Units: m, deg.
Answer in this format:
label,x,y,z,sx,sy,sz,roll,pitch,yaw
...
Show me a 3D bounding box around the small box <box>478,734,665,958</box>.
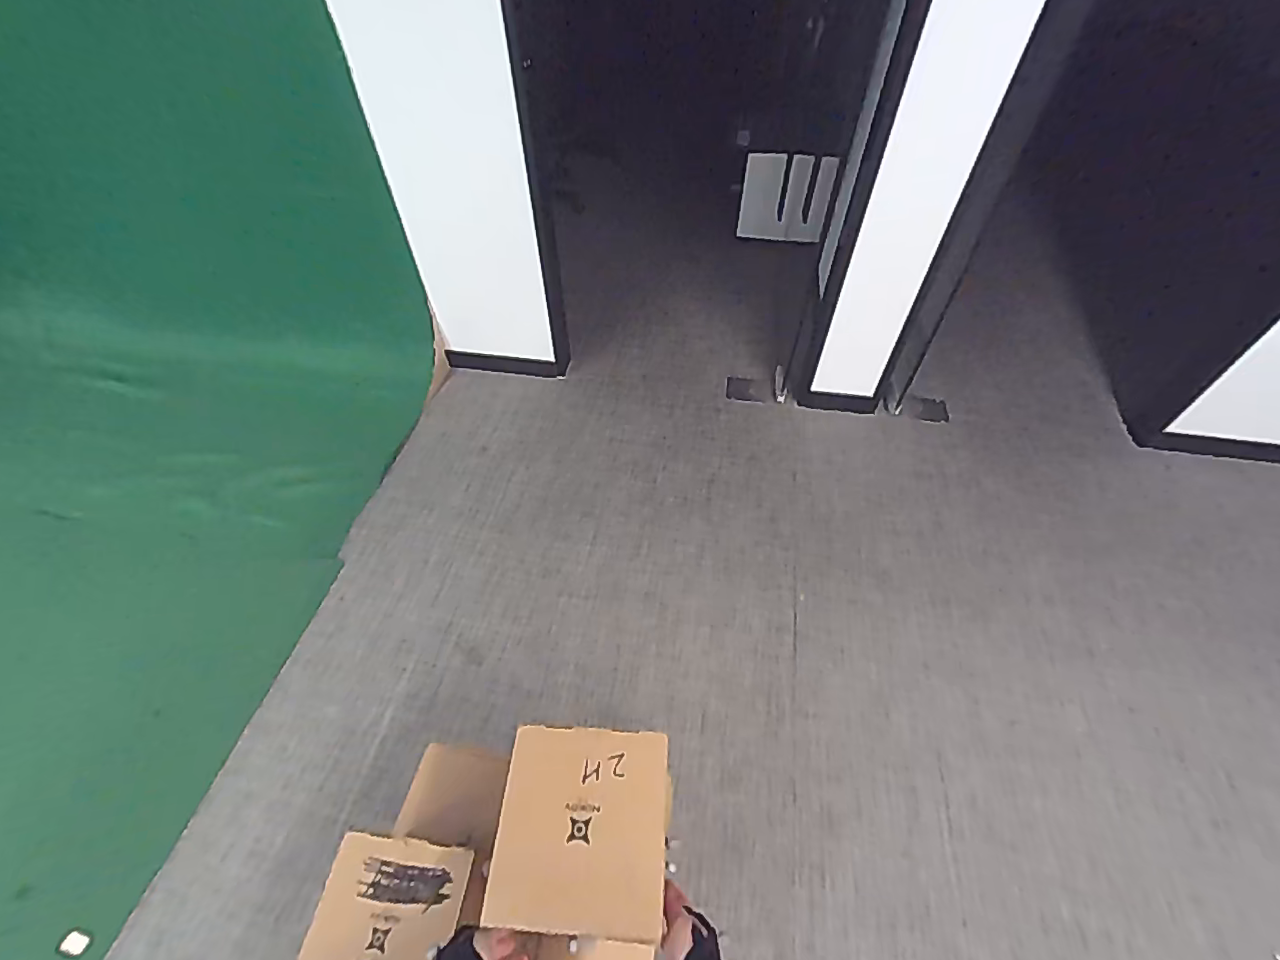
label,x,y,z,sx,sy,sz,roll,pitch,yaw
small box,-0.058,0.403,0.600,0.168,0.176,0.179,3,50,4
